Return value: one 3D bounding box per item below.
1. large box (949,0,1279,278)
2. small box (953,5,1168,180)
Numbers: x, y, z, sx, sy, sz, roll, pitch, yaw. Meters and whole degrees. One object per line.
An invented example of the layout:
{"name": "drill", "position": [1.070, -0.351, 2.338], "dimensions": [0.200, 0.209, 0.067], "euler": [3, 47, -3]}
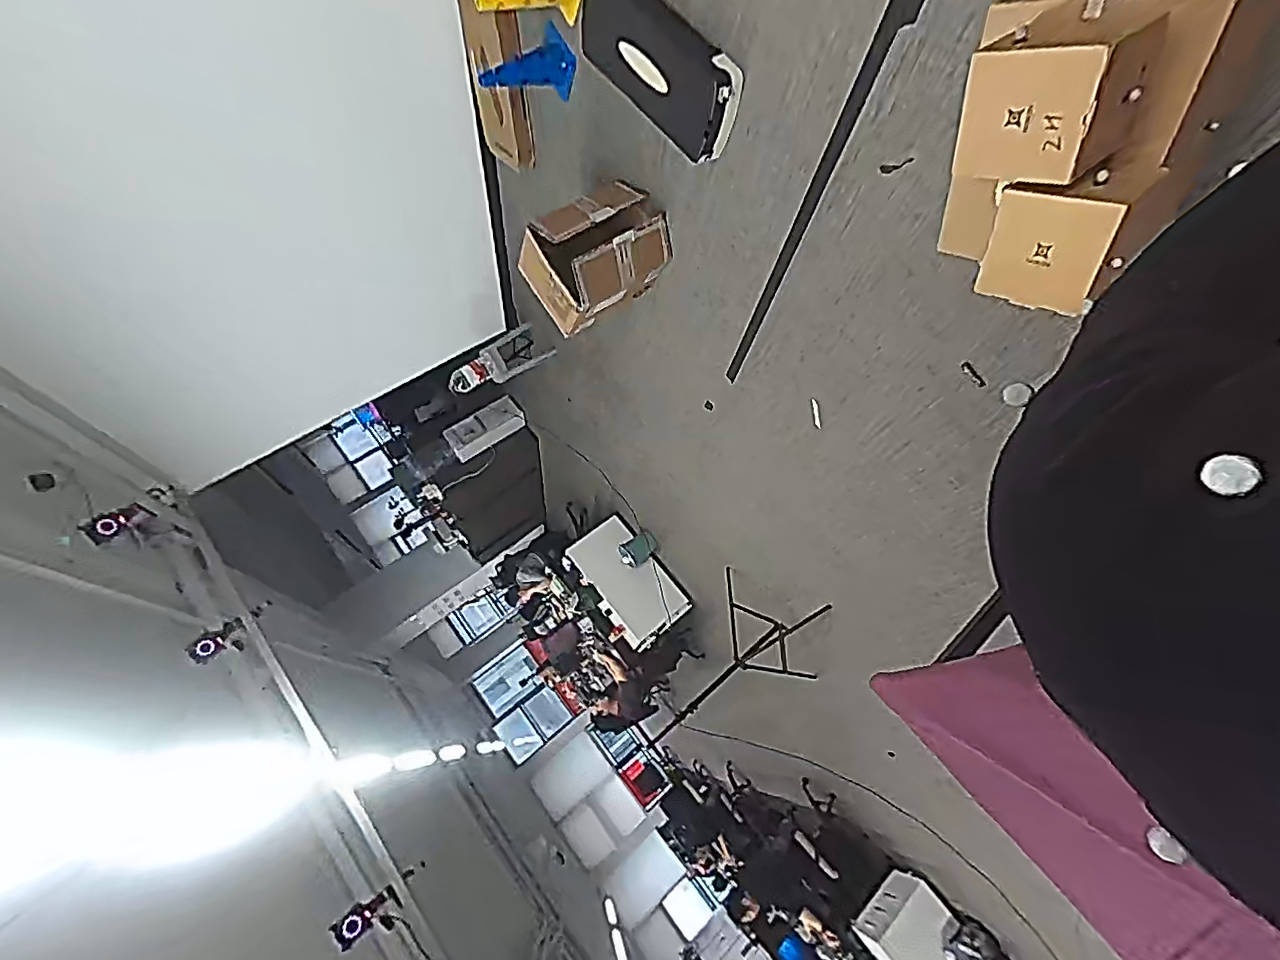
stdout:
{"name": "large box", "position": [0.808, -0.638, 0.946], "dimensions": [0.320, 0.320, 0.408], "euler": [37, 154, 40]}
{"name": "small box", "position": [0.606, -0.566, 0.795], "dimensions": [0.179, 0.176, 0.168], "euler": [35, 153, 40]}
